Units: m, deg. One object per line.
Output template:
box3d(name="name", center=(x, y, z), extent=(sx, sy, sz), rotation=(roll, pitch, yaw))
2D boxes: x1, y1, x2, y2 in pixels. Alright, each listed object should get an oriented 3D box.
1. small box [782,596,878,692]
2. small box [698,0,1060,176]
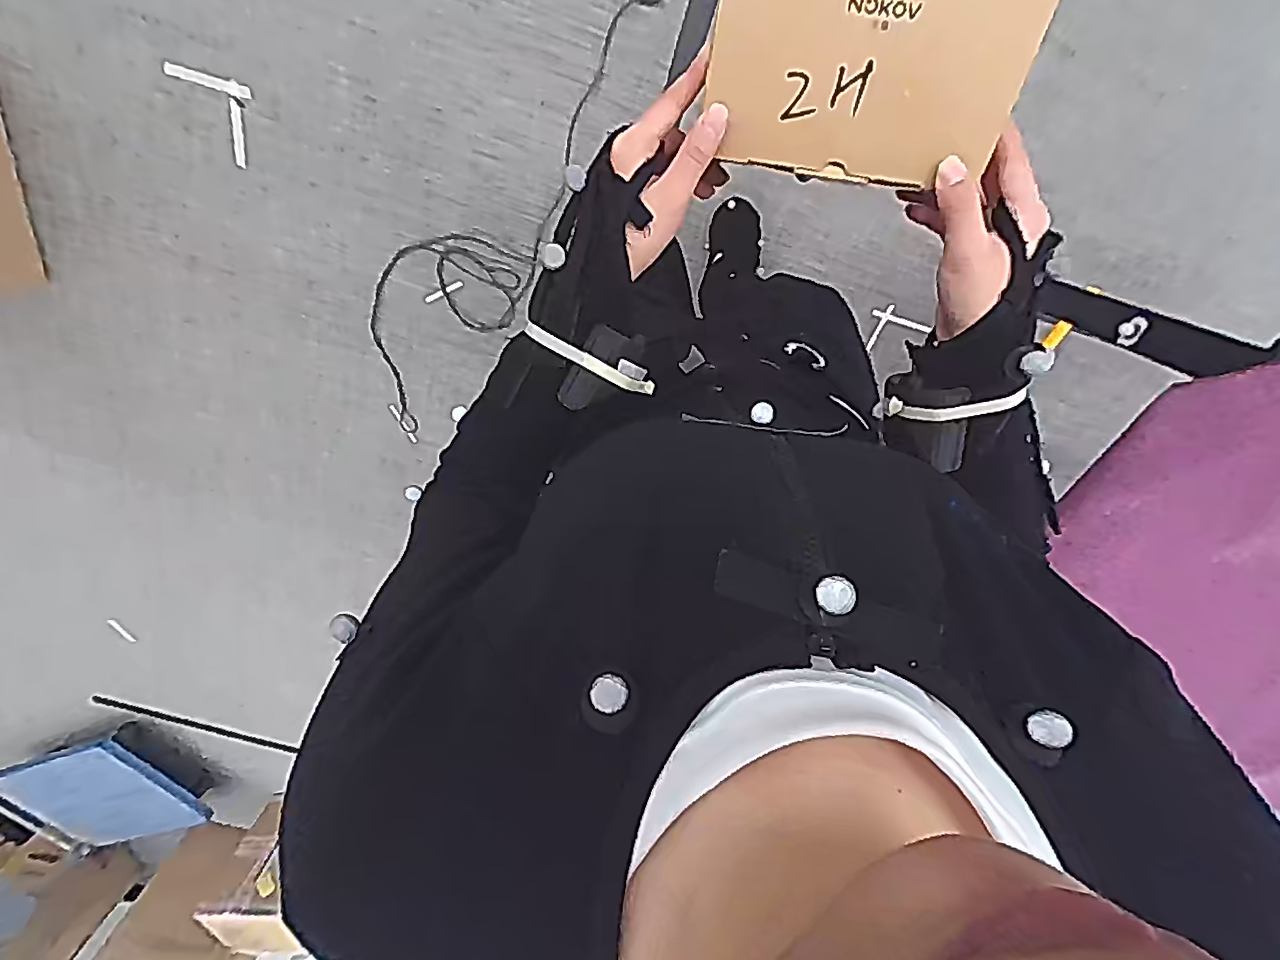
box3d(name="small box", center=(0.512, 0.447, 1.493), extent=(0.179, 0.176, 0.168), rotation=(18, 120, -6))
box3d(name="small box", center=(0.132, -0.299, 0.316), extent=(0.168, 0.176, 0.179), rotation=(10, 128, 2))
